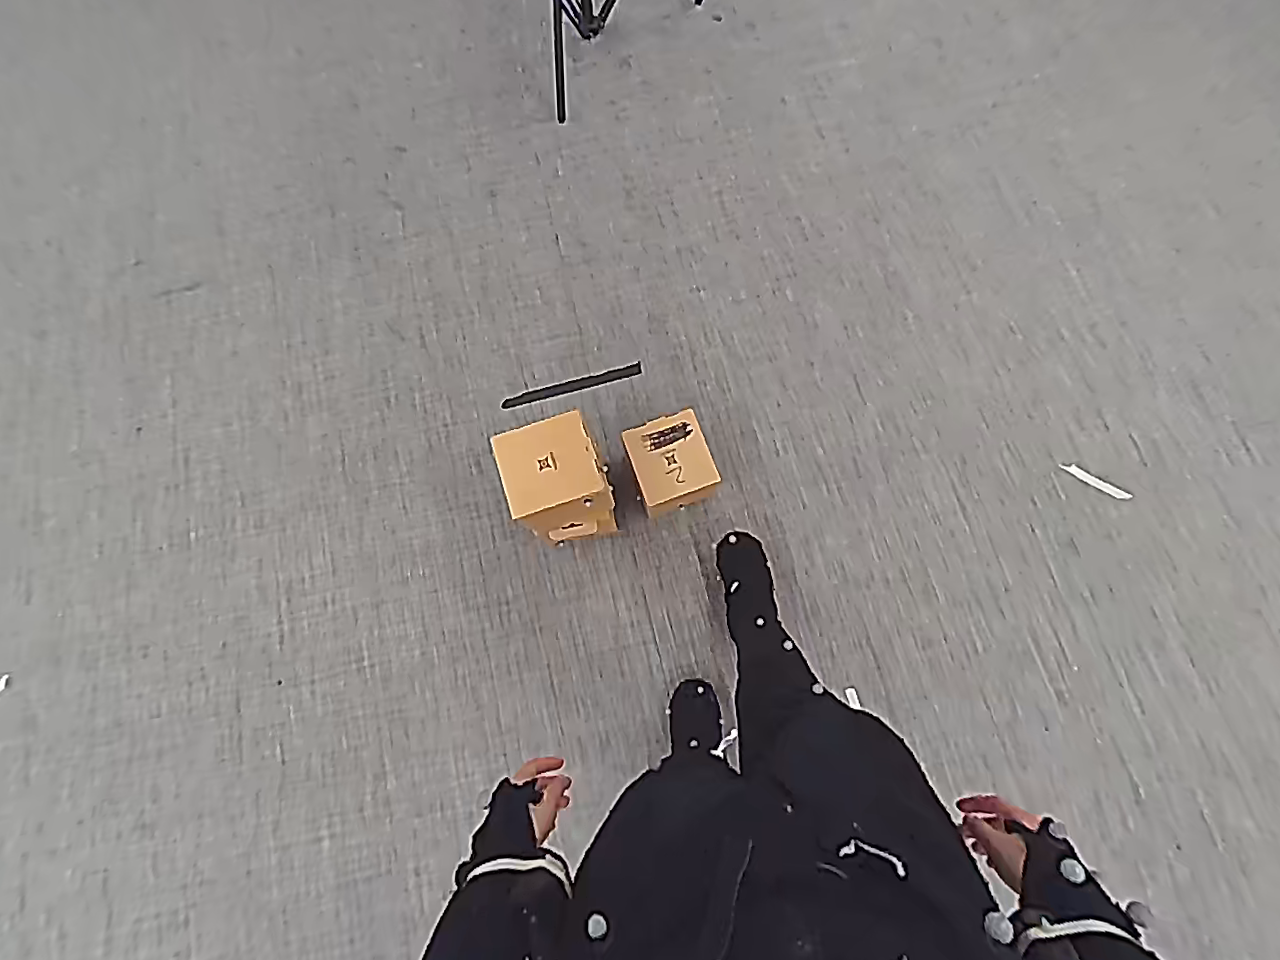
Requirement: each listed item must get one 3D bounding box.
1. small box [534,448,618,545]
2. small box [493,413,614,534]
[{"bbox_3d":[-0.149,0.044,1.213,0.168,0.176,0.179,-12,75,0],"label":"small box"},{"bbox_3d":[-0.162,-0.003,1.058,0.179,0.176,0.168,-19,76,-2],"label":"small box"}]
